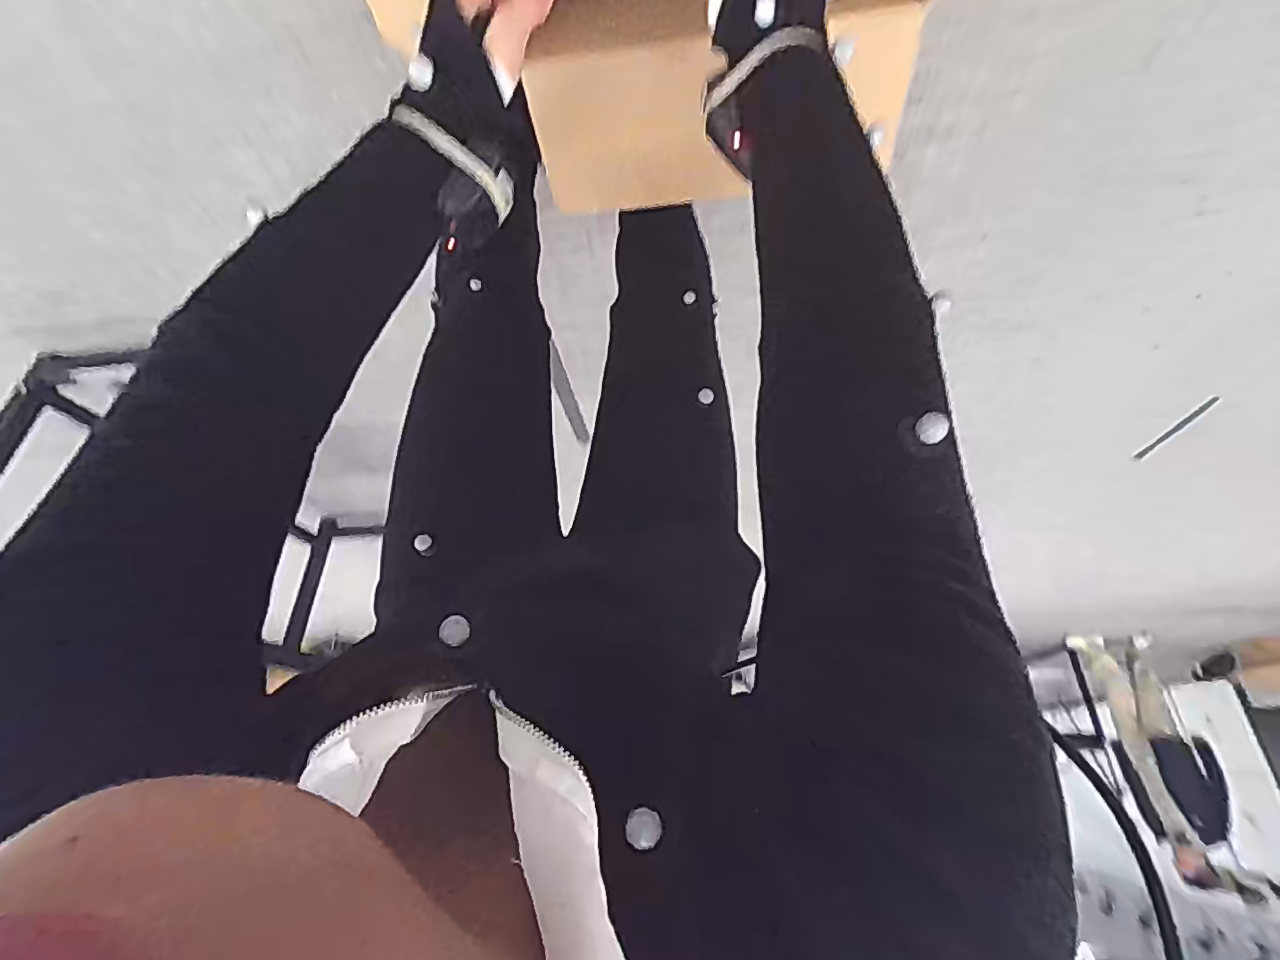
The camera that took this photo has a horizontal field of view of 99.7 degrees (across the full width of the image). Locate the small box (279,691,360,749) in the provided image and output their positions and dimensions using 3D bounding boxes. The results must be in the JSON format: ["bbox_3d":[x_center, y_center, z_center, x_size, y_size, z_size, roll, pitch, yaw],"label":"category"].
[{"bbox_3d":[-1.084,0.811,1.829,0.168,0.176,0.179,-4,152,9],"label":"small box"}]
